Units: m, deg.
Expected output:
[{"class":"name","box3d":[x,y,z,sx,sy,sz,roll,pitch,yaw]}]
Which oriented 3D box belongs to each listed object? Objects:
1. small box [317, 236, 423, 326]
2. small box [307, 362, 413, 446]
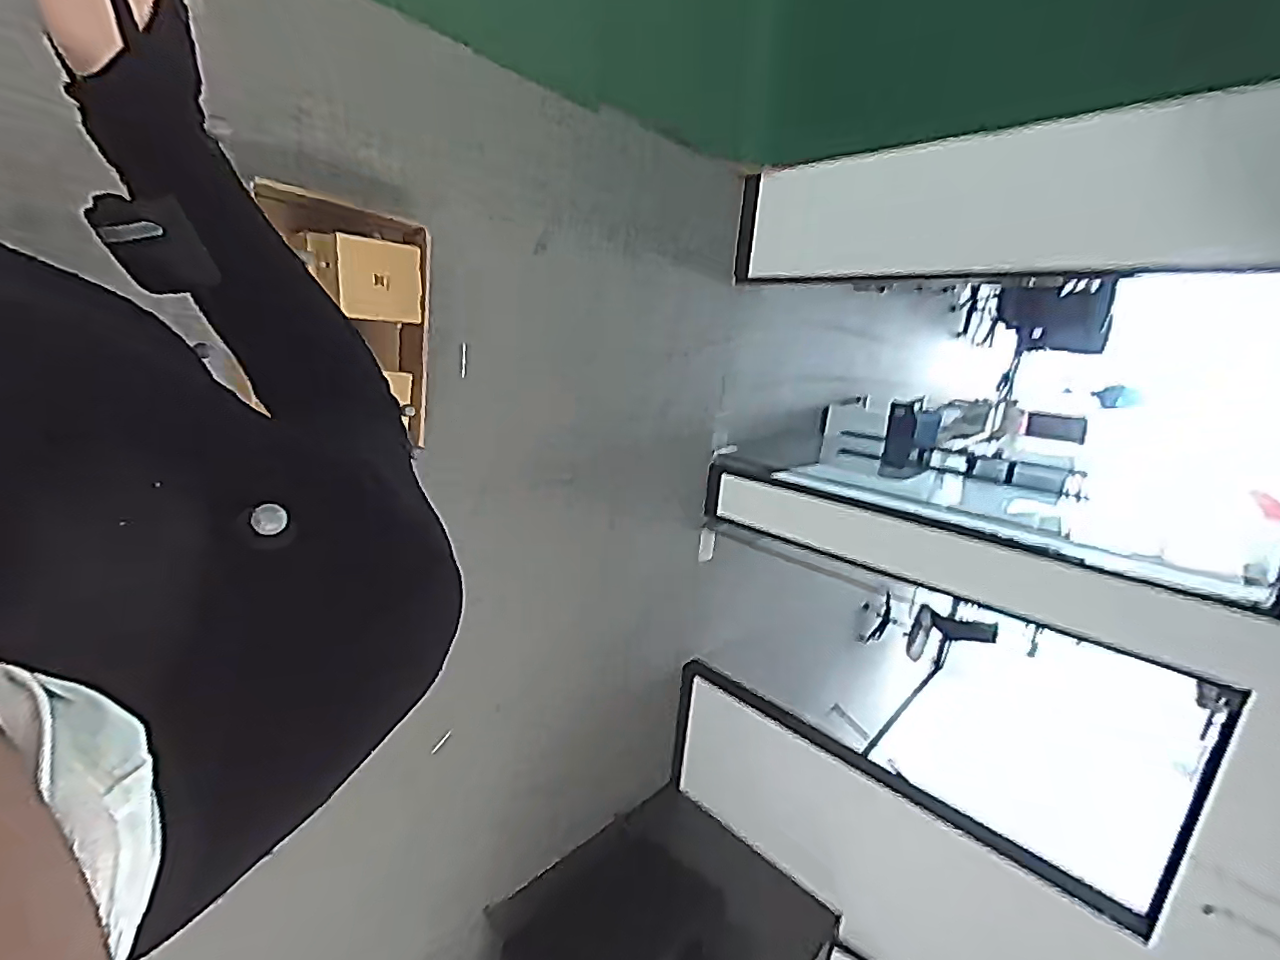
[{"class":"small box","box3d":[-0.616,-0.445,1.229,0.179,0.176,0.168,-10,111,-45]},{"class":"small box","box3d":[-0.661,-0.179,1.271,0.179,0.176,0.168,0,104,-47]}]
